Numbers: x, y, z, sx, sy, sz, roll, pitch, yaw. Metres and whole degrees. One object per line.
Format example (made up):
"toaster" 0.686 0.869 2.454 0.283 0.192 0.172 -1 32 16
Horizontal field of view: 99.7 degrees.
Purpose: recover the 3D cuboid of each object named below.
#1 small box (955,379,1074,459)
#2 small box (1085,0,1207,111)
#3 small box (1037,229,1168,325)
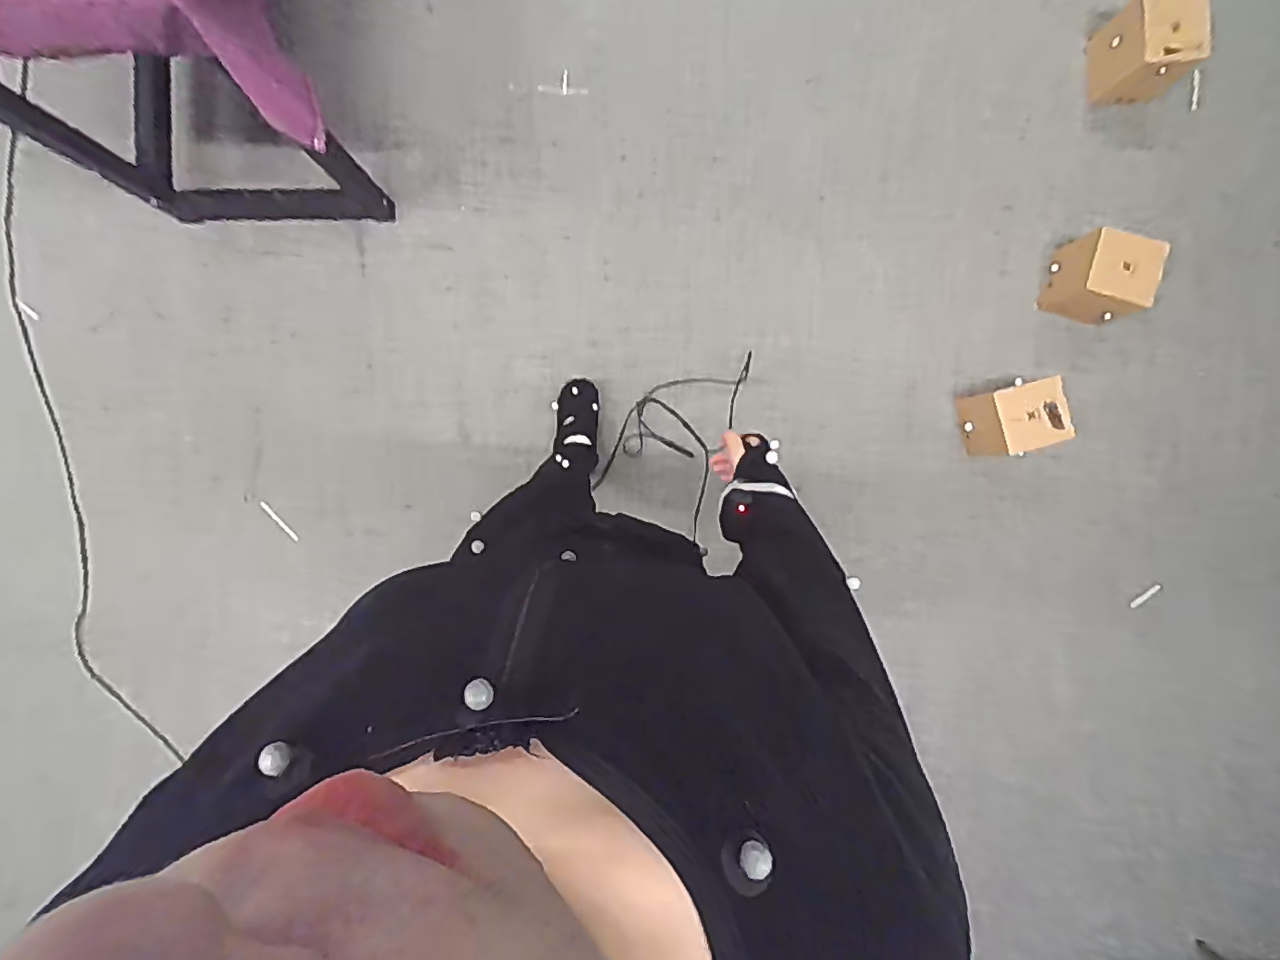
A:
"small box" 0.975 -0.155 1.421 0.179 0.176 0.168 -15 90 0
"small box" 1.314 -1.111 1.416 0.168 0.176 0.179 -4 90 -1
"small box" 1.205 -0.522 1.421 0.179 0.176 0.168 17 90 -1
